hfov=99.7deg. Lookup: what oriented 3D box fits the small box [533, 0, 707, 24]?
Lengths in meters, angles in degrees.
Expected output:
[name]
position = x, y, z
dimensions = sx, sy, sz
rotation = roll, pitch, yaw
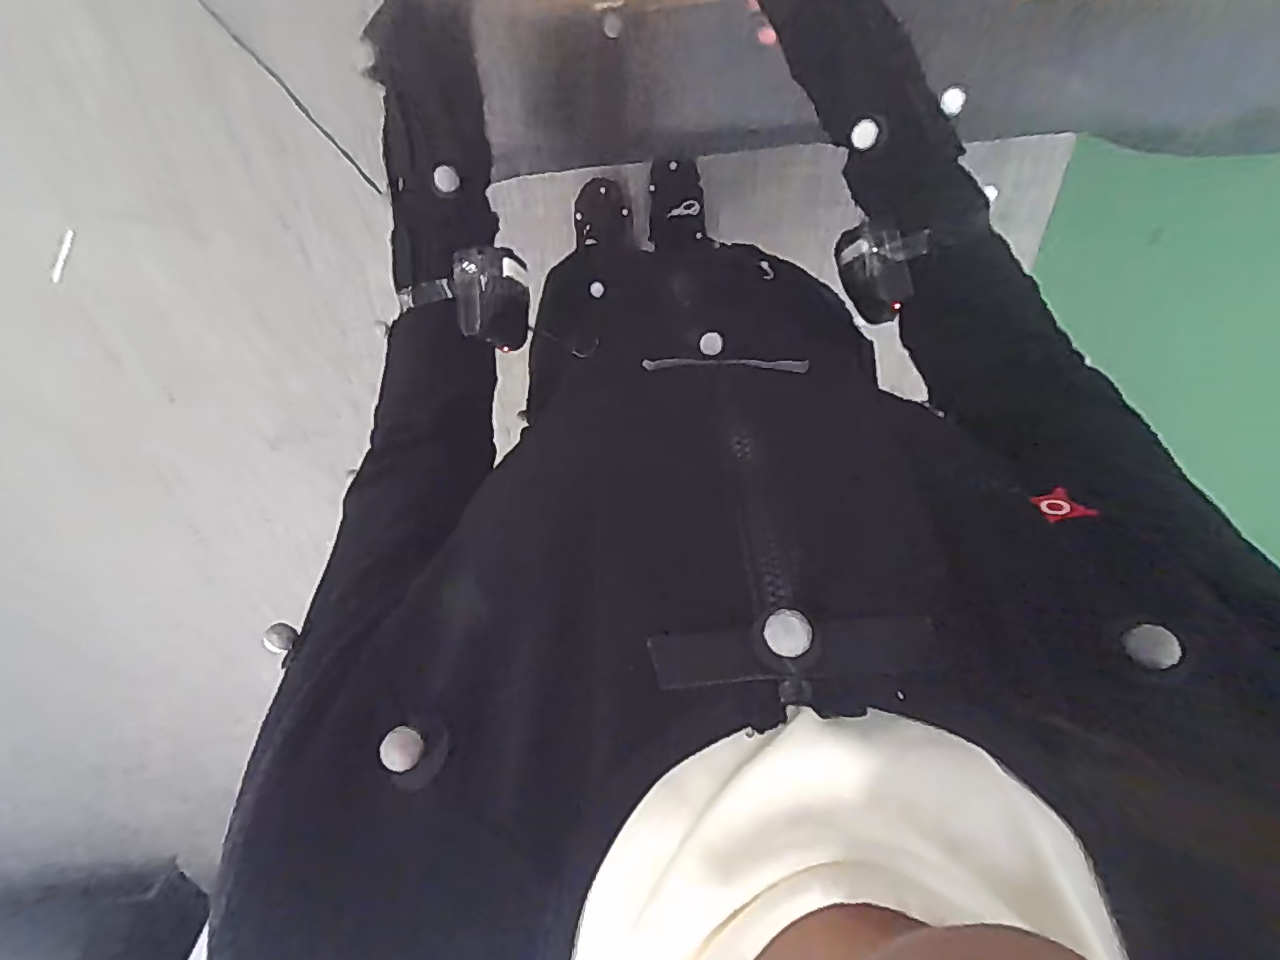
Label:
[small box]
position = -0.015, -0.432, 0.351
dimensions = 0.168, 0.176, 0.179
rotation = -7, 123, 2
